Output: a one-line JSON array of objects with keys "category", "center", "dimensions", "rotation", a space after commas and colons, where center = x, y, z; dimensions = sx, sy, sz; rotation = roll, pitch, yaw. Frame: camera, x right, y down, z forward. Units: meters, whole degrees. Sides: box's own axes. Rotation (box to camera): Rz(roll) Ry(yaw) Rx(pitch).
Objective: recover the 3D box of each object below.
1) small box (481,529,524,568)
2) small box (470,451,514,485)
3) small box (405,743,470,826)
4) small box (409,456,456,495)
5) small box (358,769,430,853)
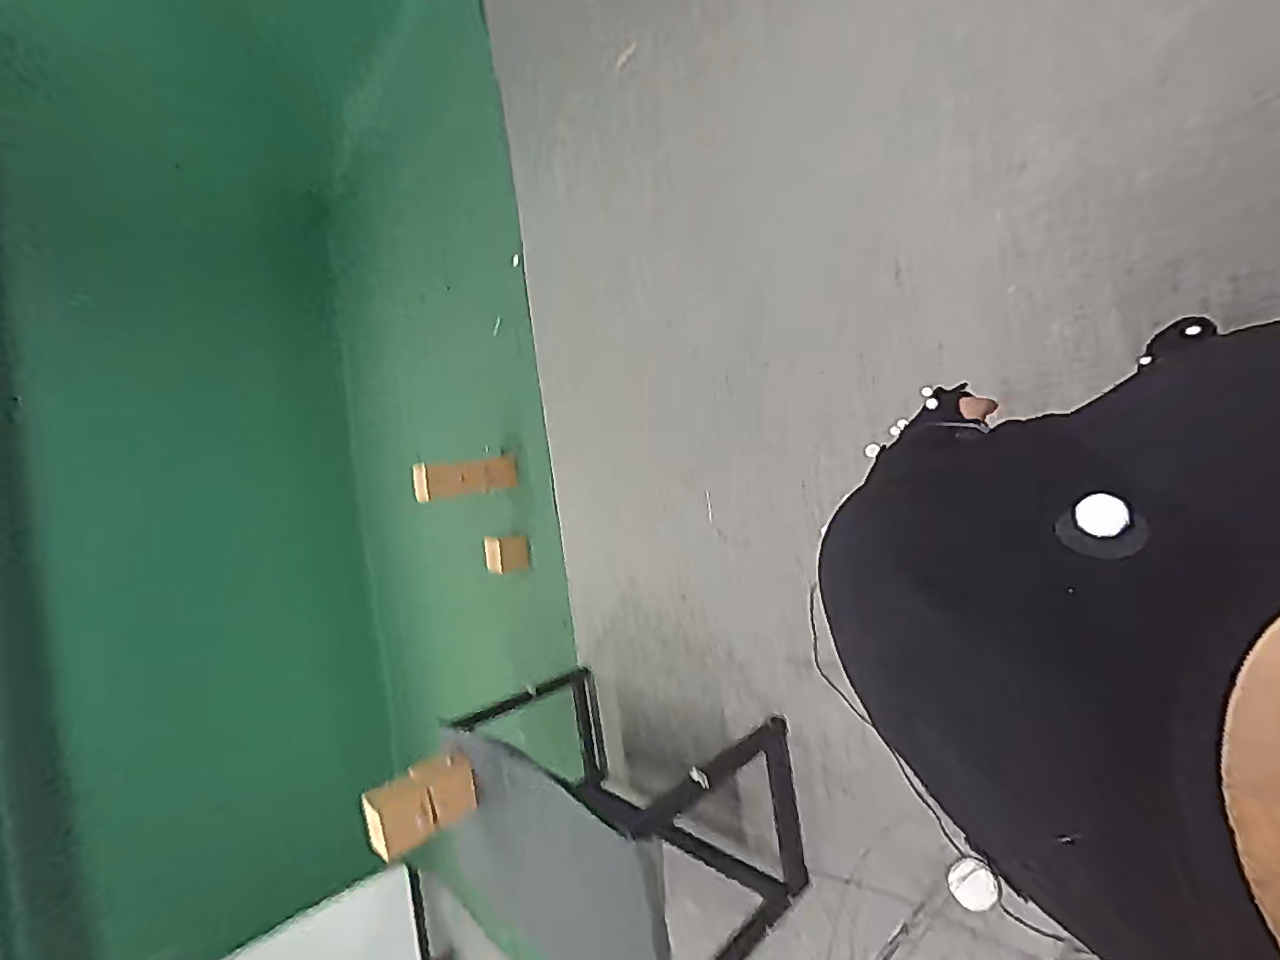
[{"category": "small box", "center": [-0.752, 0.369, 2.968], "dimensions": [0.168, 0.176, 0.179], "rotation": [2, 97, 47]}, {"category": "small box", "center": [-0.814, -0.068, 2.974], "dimensions": [0.168, 0.176, 0.179], "rotation": [-1, 95, 46]}, {"category": "small box", "center": [-0.743, 1.115, 1.993], "dimensions": [0.168, 0.176, 0.179], "rotation": [1, 98, 46]}, {"category": "small box", "center": [-1.051, -0.024, 2.751], "dimensions": [0.168, 0.176, 0.179], "rotation": [-3, 94, 47]}, {"category": "small box", "center": [-0.851, 1.136, 1.874], "dimensions": [0.179, 0.176, 0.168], "rotation": [-11, 91, 45]}]
